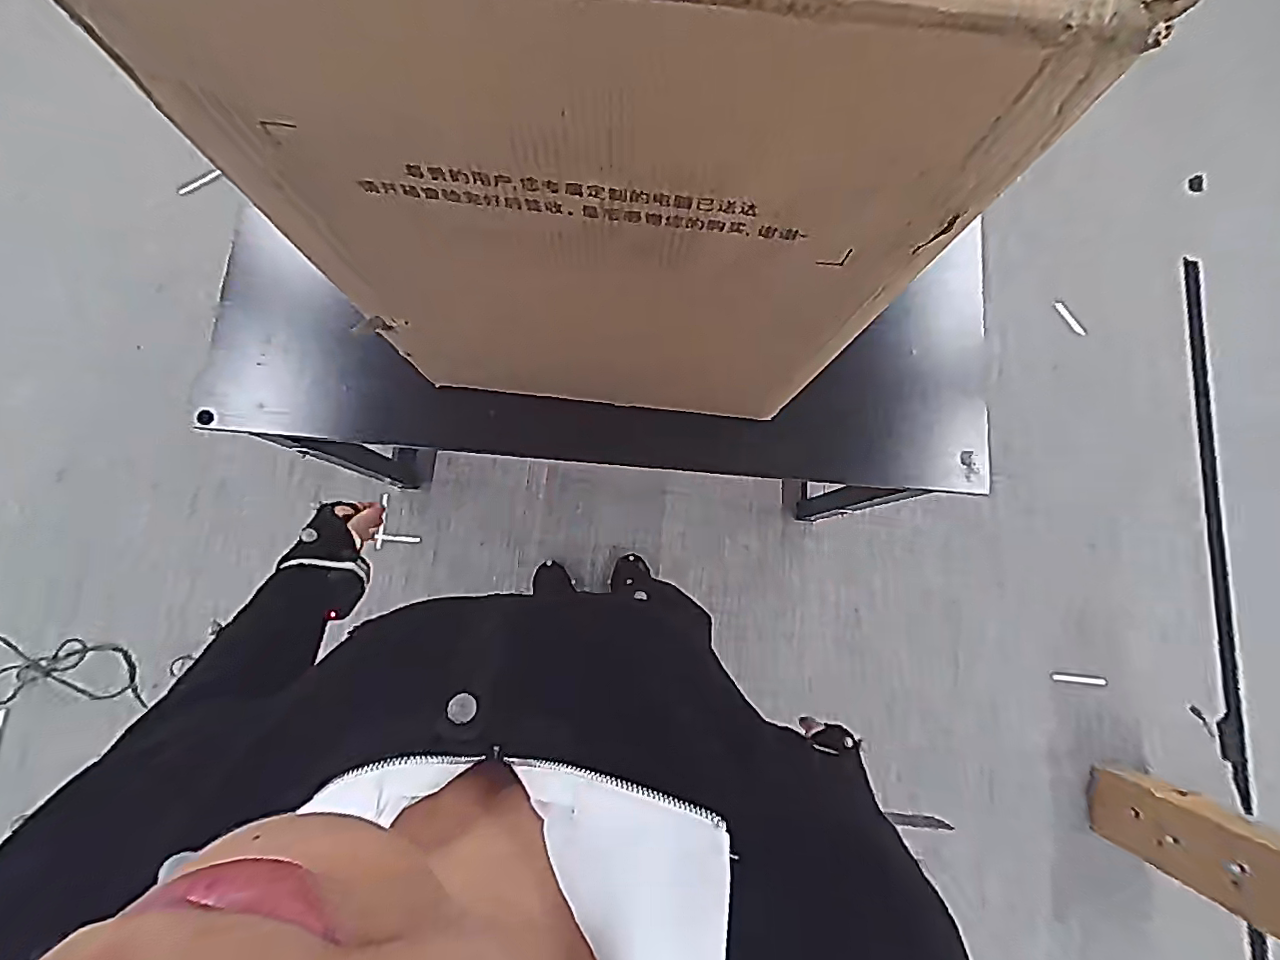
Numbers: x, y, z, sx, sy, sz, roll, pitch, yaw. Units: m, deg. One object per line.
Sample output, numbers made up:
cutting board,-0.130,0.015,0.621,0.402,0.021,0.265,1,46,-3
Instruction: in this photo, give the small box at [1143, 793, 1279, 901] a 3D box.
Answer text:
small box,1.316,0.844,1.237,0.179,0.176,0.168,9,81,-1

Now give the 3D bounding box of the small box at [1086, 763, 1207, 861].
small box,1.304,0.861,1.401,0.168,0.176,0.179,9,82,-1

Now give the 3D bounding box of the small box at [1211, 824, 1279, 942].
small box,1.310,0.818,1.076,0.179,0.176,0.168,9,80,0
